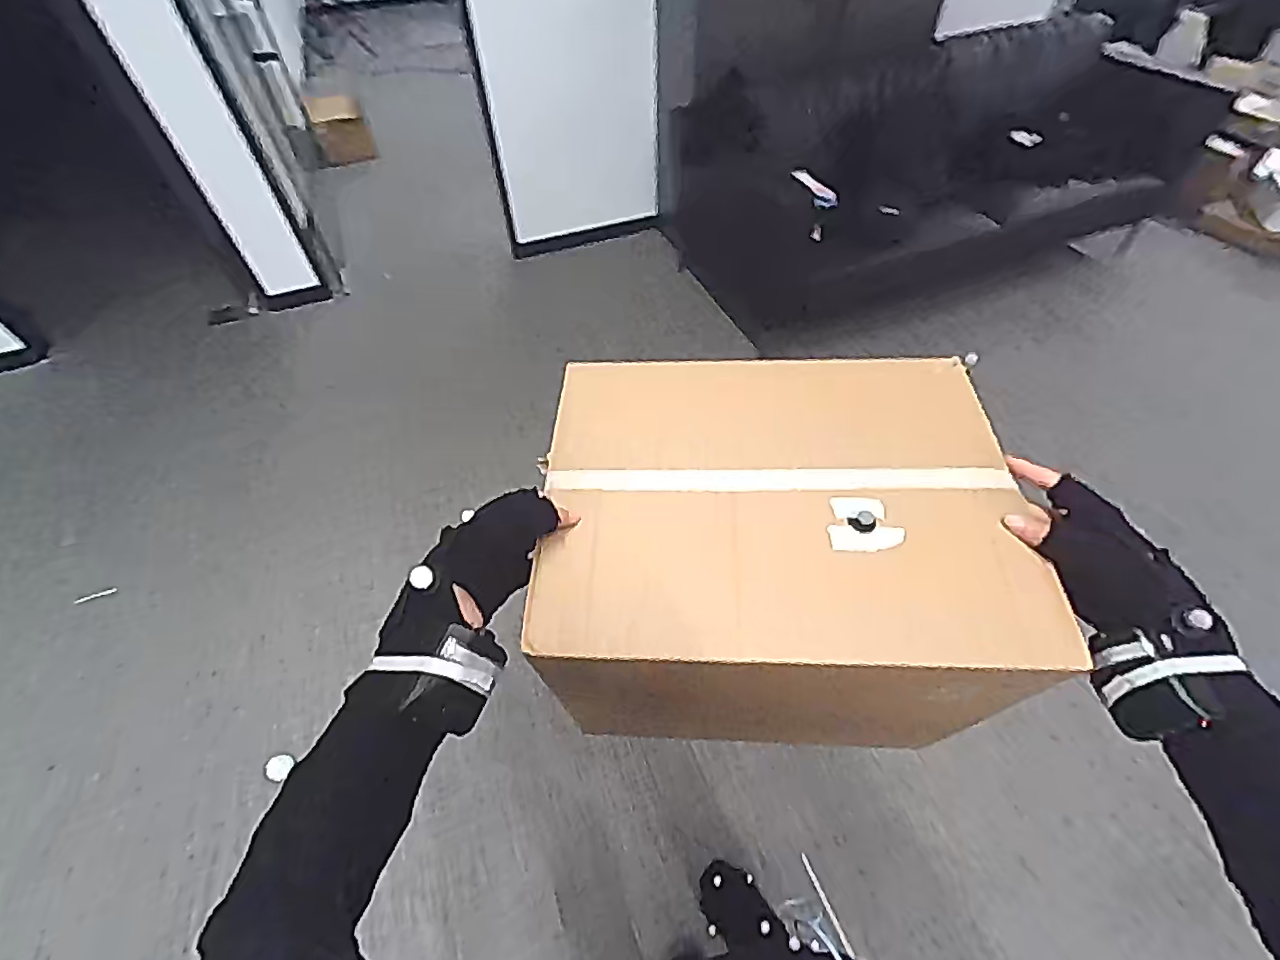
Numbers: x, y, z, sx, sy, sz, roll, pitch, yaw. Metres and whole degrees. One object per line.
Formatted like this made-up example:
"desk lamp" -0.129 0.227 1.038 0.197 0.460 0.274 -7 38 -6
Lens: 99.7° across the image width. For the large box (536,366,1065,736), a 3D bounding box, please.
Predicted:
"large box" 0.123 0.092 0.610 0.408 0.320 0.320 0 55 3
